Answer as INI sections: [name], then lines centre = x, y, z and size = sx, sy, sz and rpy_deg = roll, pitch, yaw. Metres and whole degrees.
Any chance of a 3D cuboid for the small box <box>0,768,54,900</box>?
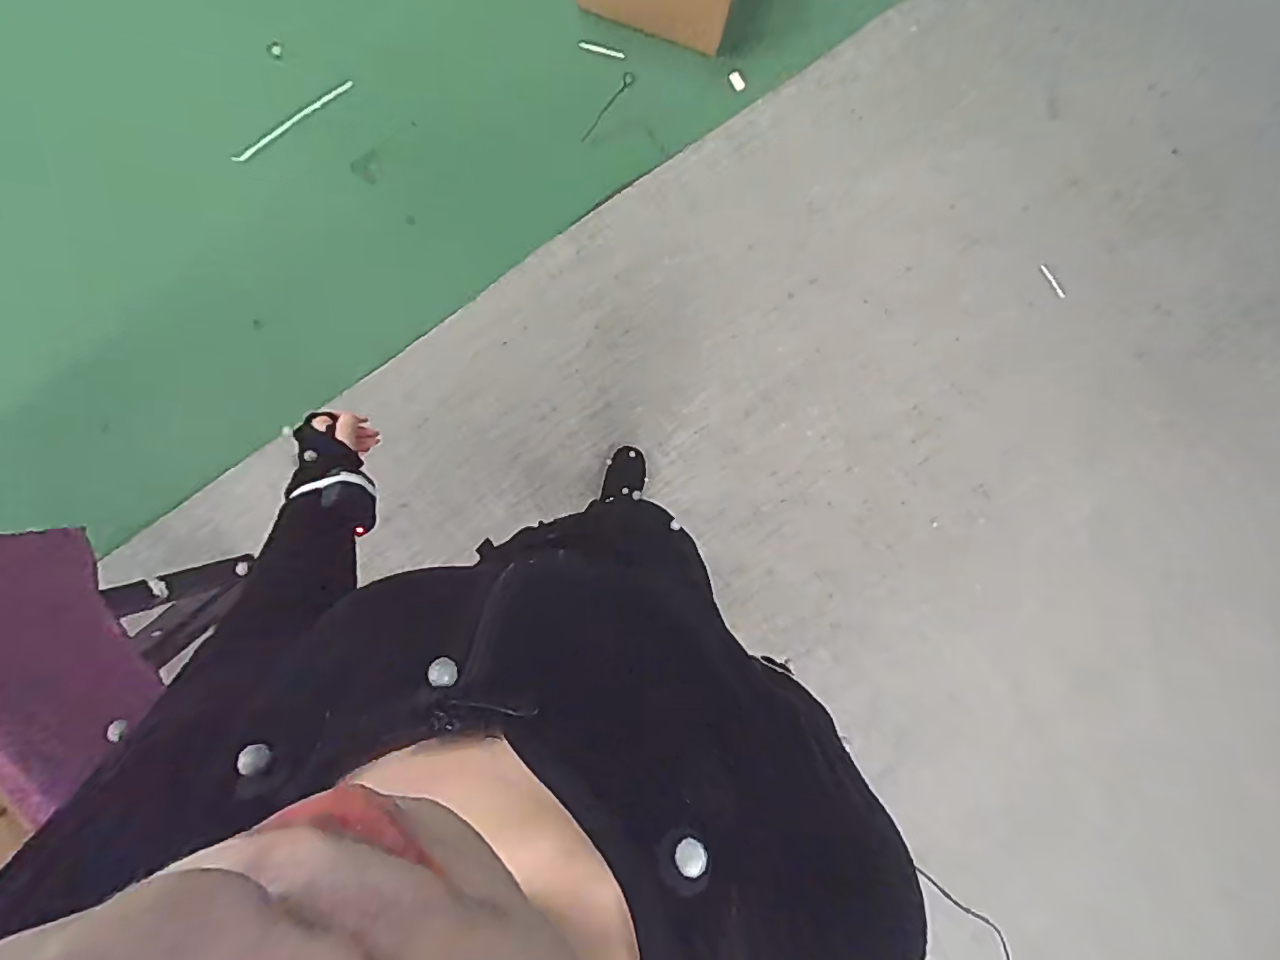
[small box]
centre = -0.918, 0.507, 0.681
size = 0.179, 0.176, 0.168
rpy_deg = -35, 93, 1
